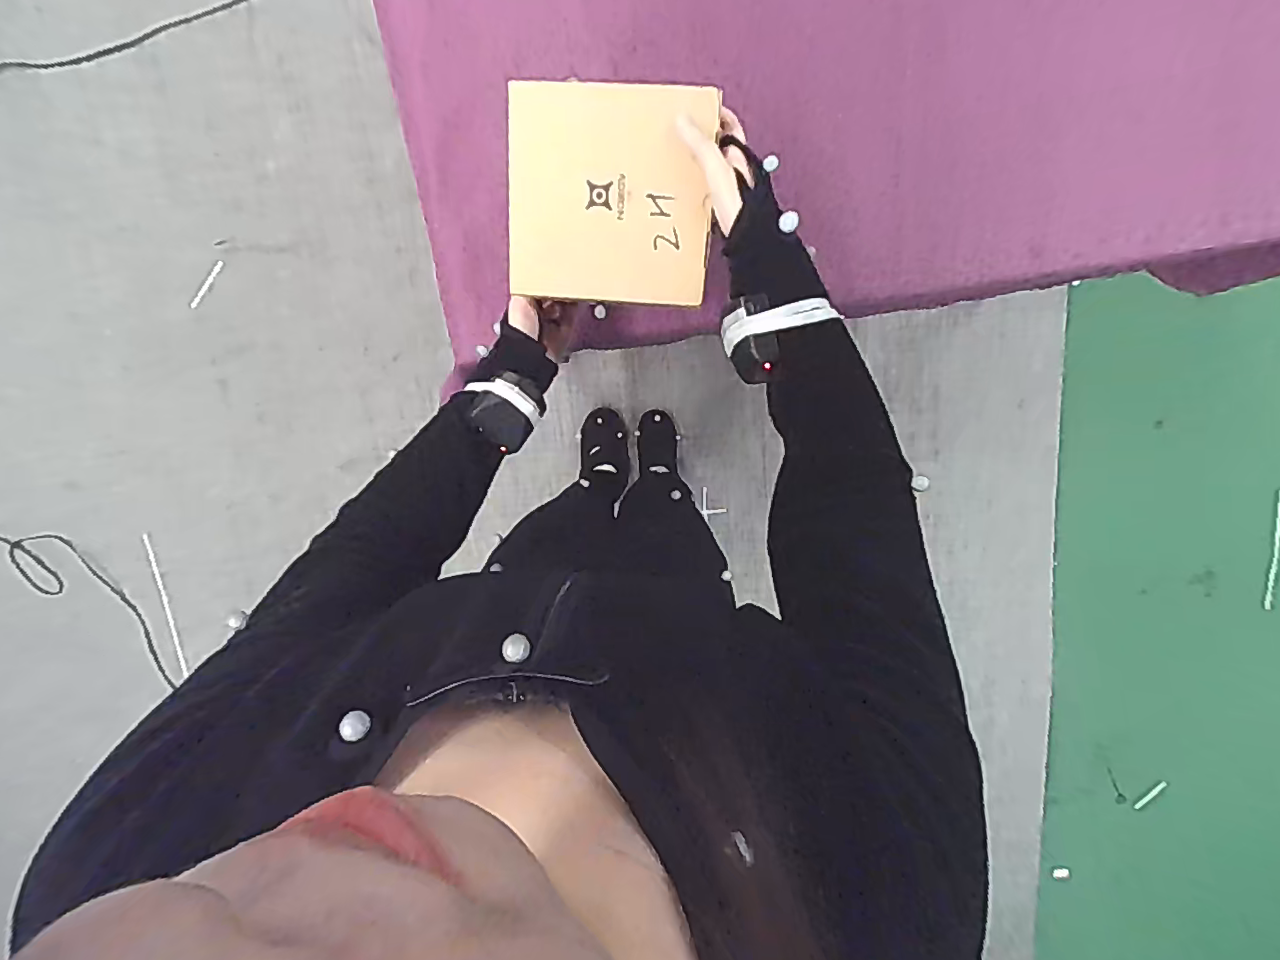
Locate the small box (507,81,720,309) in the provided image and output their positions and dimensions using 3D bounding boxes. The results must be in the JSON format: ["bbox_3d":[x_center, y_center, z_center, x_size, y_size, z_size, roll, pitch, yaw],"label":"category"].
[{"bbox_3d":[-0.019,-0.263,0.535,0.179,0.176,0.168,5,107,4],"label":"small box"}]
